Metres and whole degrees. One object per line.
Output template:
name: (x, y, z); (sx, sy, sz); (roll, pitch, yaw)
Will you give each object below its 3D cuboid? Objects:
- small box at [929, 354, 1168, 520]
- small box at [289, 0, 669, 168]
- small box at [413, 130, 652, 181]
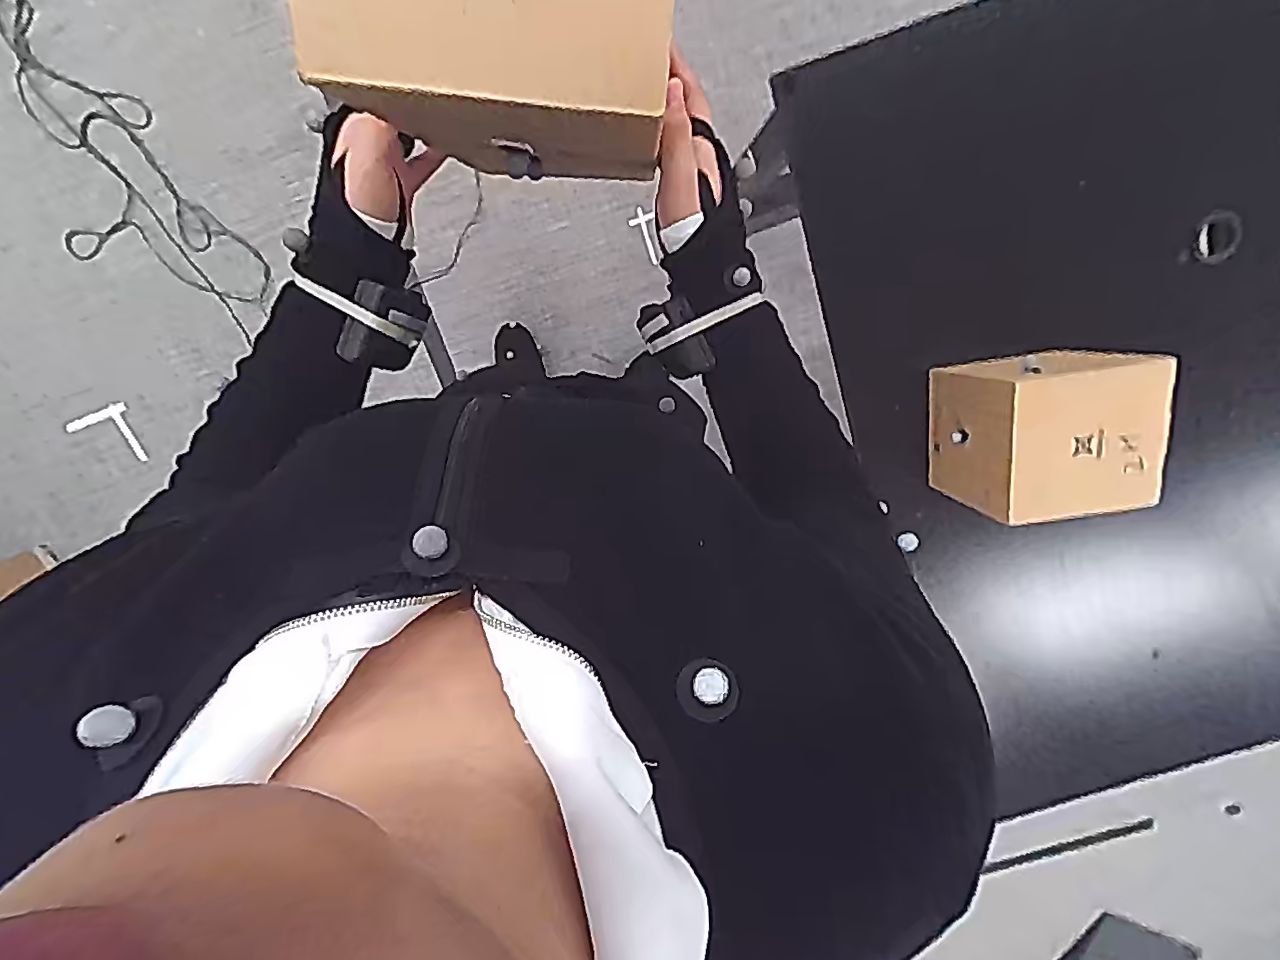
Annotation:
small box: (0.487, -0.062, 0.676); (0.179, 0.176, 0.168); (-8, 106, -1)
small box: (-0.066, -0.284, 0.289); (0.168, 0.176, 0.179); (4, 113, -1)
small box: (-0.075, -0.348, 0.440); (0.179, 0.176, 0.168); (2, 112, 0)
